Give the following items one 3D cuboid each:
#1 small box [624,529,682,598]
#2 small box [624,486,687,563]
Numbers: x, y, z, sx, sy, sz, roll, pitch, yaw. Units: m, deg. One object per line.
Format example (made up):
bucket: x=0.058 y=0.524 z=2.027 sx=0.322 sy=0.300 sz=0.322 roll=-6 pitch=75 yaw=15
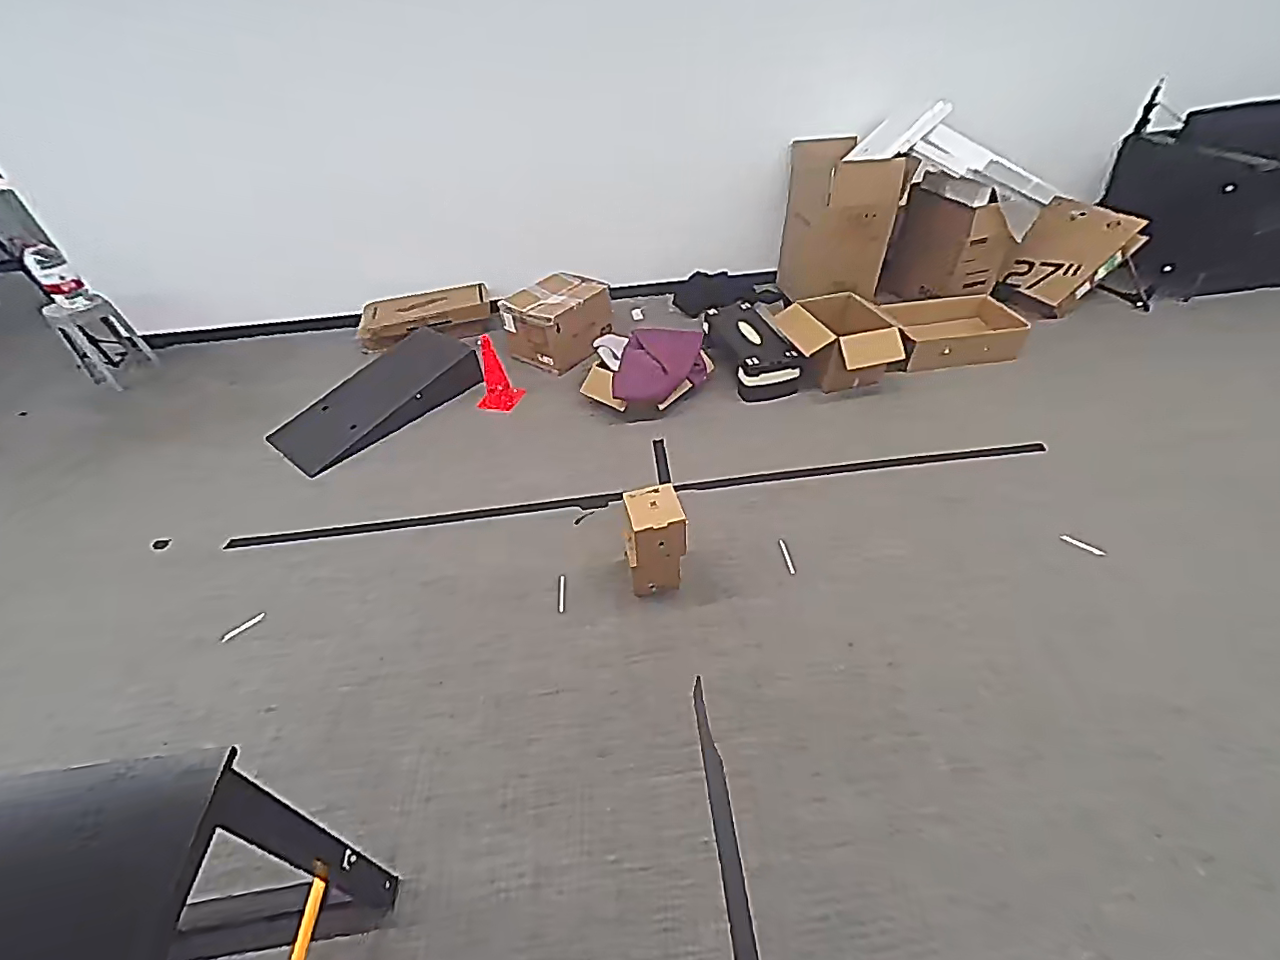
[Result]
small box: x=0.045 y=0.272 z=1.845 sx=0.168 sy=0.176 sz=0.179 roll=-11 pitch=43 yaw=-6
small box: x=0.052 y=0.149 z=1.735 sx=0.168 sy=0.176 sz=0.179 roll=-12 pitch=43 yaw=-6
